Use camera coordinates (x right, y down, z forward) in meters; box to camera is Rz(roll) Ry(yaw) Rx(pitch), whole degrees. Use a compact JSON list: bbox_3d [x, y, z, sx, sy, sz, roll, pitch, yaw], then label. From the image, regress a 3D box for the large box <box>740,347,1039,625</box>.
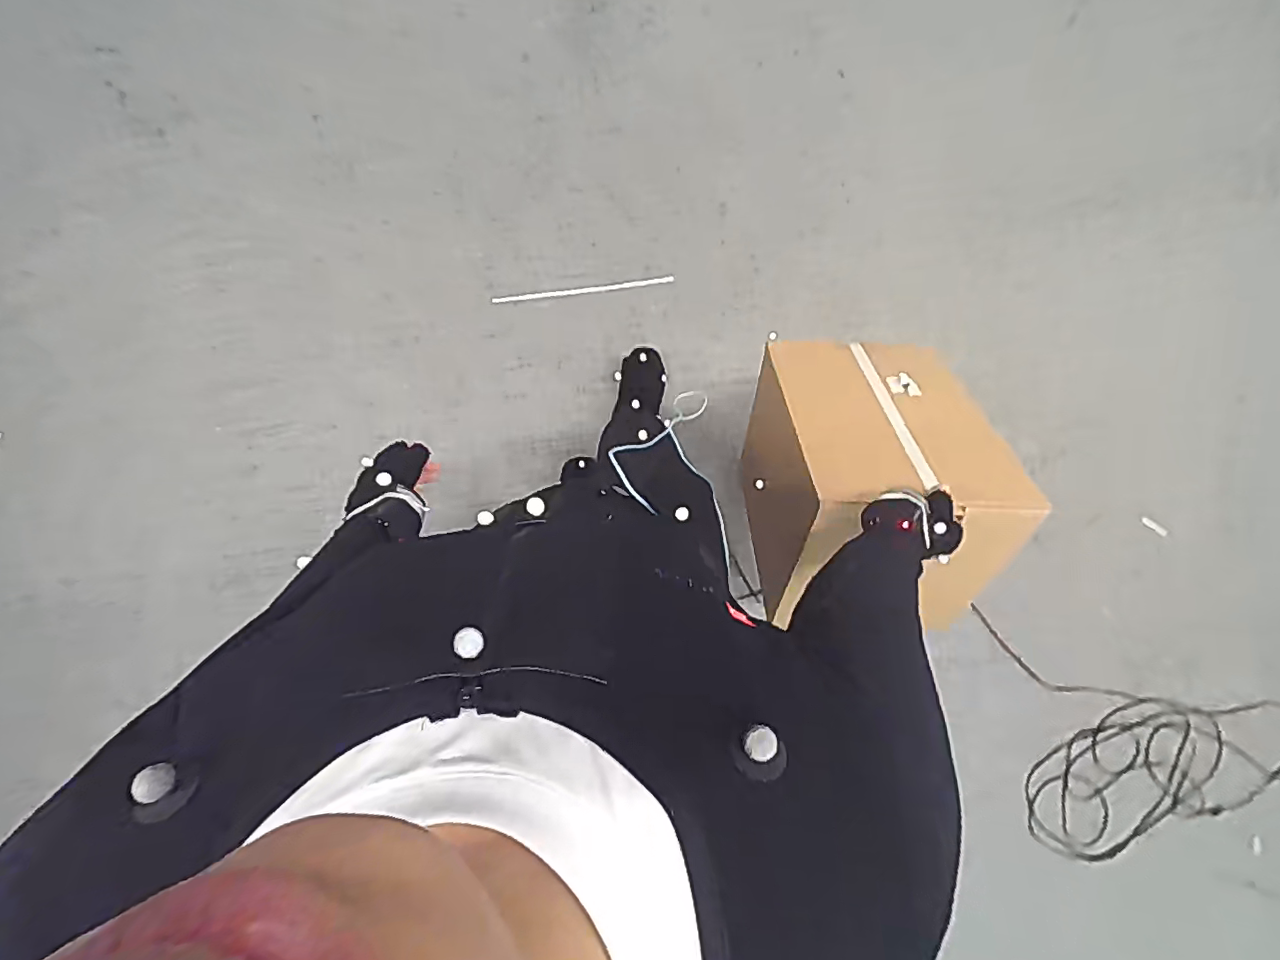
[{"bbox_3d":[0.379,0.005,0.965,0.320,0.408,0.320,2,133,-3],"label":"large box"}]
